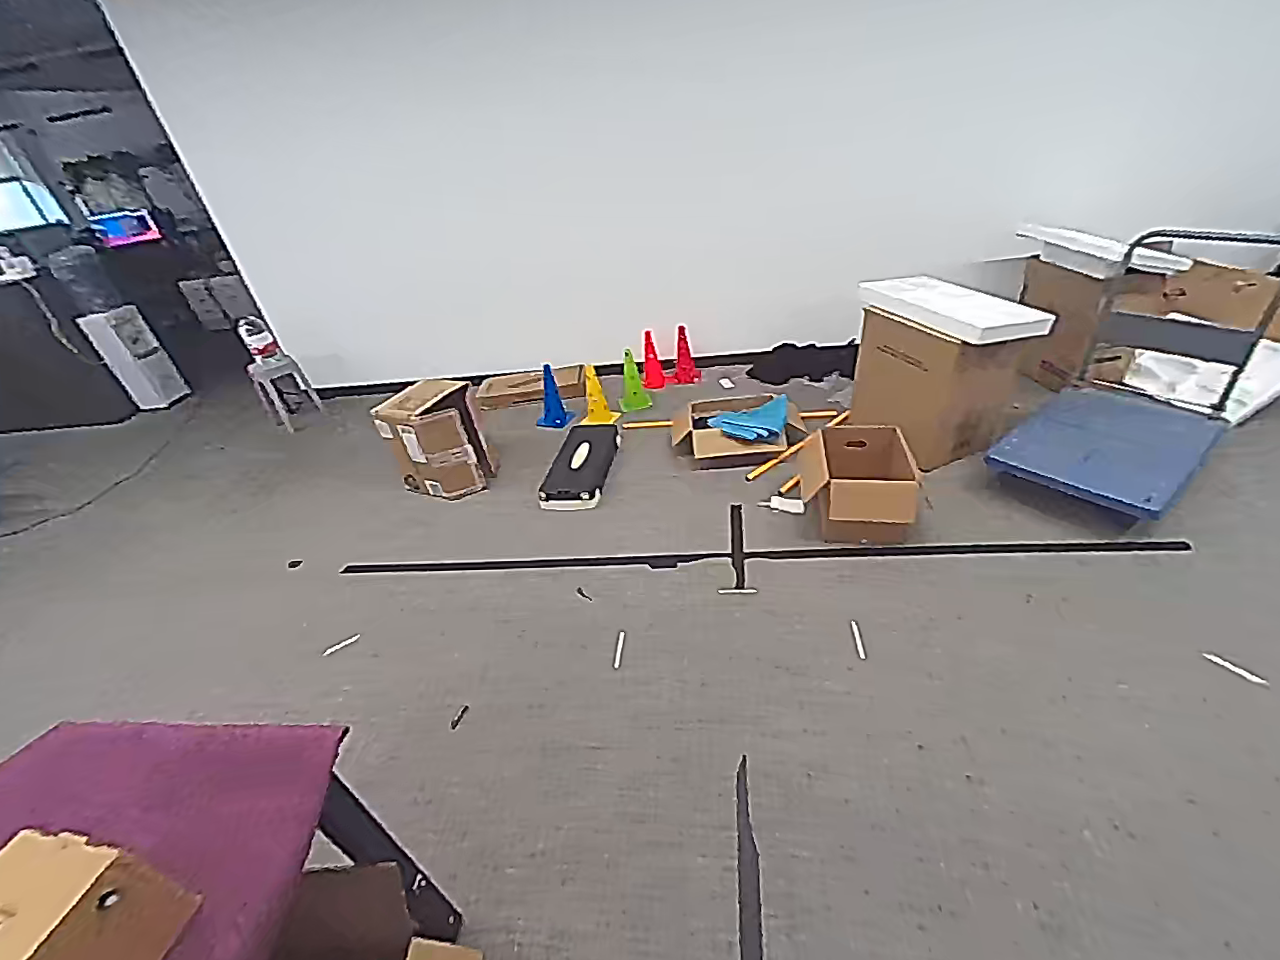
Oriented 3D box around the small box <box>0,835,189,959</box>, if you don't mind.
[{"bbox_3d":[-0.695,0.553,0.626,0.168,0.176,0.179,0,35,13],"label":"small box"}]
